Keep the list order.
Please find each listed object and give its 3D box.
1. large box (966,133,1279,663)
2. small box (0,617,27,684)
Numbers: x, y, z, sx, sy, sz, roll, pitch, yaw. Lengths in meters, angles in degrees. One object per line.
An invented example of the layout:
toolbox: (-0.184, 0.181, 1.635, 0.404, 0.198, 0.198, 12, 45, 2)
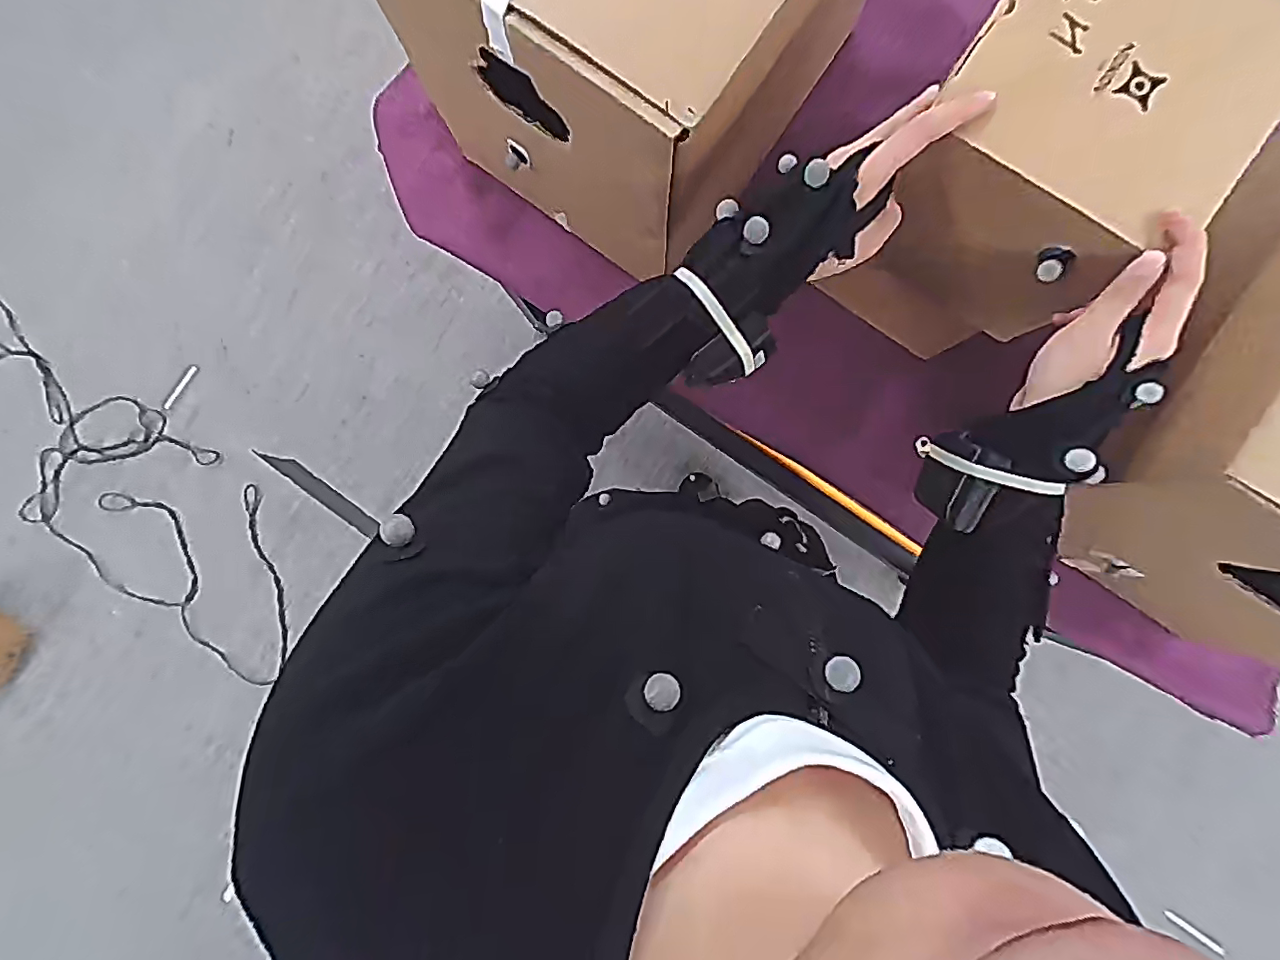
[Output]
large box: (0.596, -0.070, 0.473, 0.320, 0.320, 0.408, 34, 89, 2)
small box: (-1.740, 0.437, 1.360, 0.179, 0.176, 0.168, 28, 90, 2)
